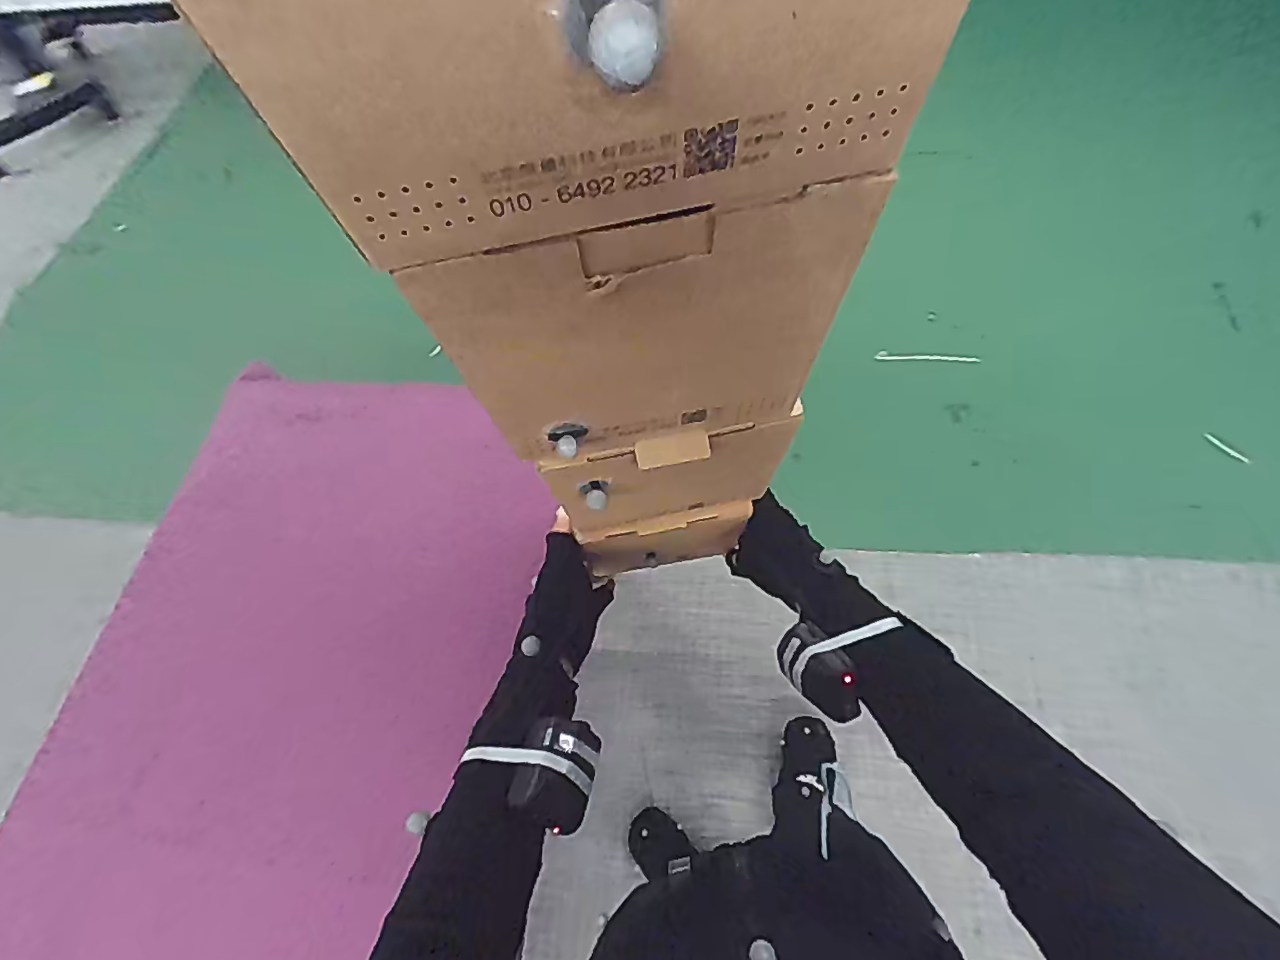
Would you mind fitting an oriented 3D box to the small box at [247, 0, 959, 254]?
[{"bbox_3d":[-0.019,-0.189,0.124,0.168,0.176,0.179,-11,70,0],"label":"small box"}]

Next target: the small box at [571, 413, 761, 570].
[{"bbox_3d":[0.020,-0.013,0.584,0.168,0.176,0.179,-10,71,0],"label":"small box"}]

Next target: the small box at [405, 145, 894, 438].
[{"bbox_3d":[-0.004,-0.134,0.278,0.168,0.176,0.179,-10,69,0],"label":"small box"}]
